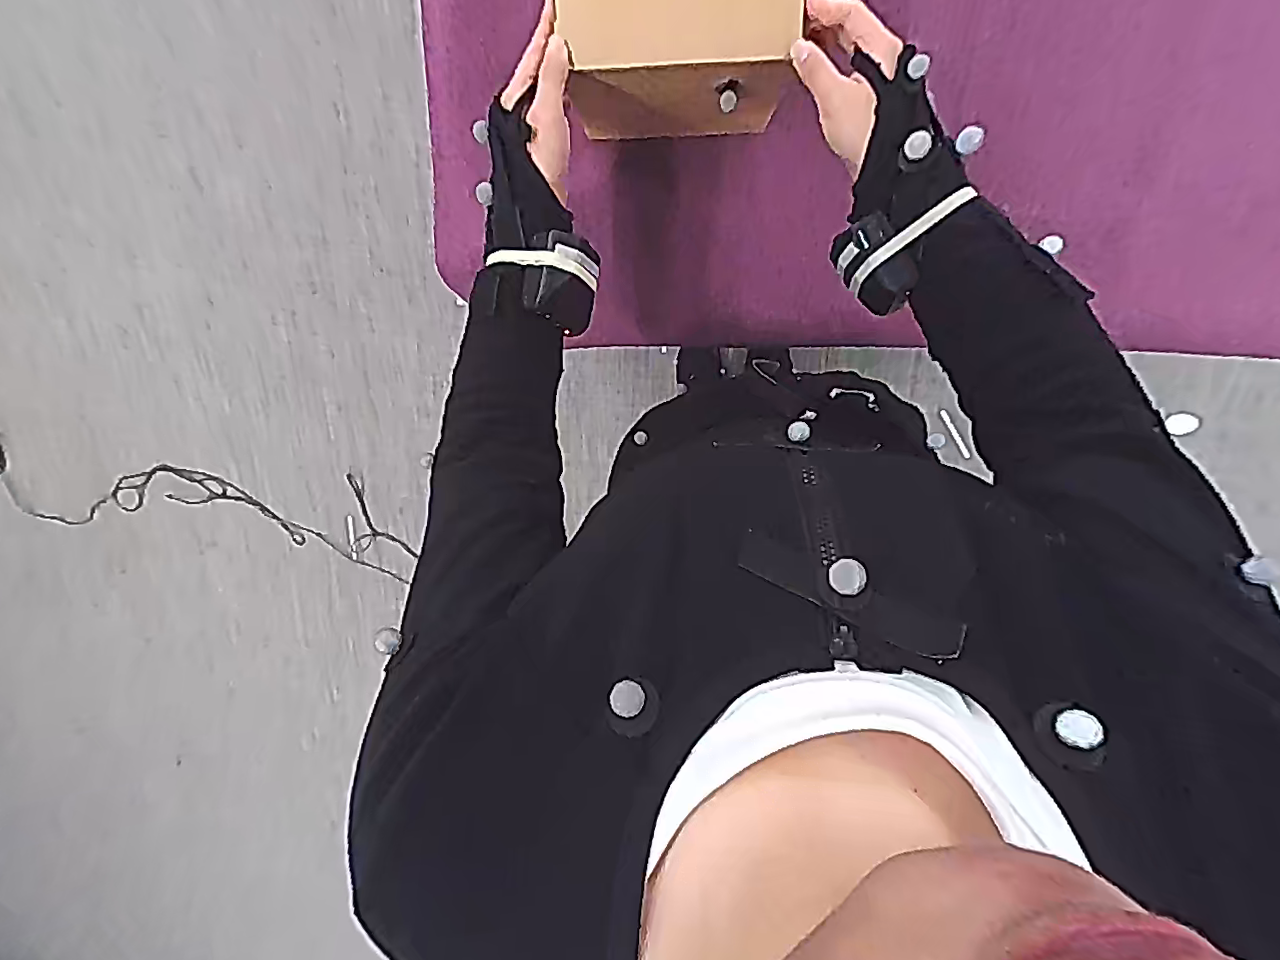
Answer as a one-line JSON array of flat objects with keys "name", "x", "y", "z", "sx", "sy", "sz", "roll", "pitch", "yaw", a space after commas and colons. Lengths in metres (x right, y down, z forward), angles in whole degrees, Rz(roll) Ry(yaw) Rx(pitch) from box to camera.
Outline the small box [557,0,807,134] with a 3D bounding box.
[{"name": "small box", "x": 0.032, "y": -0.398, "z": 0.436, "sx": 0.179, "sy": 0.176, "sz": 0.168, "roll": 0, "pitch": 107, "yaw": 4}]
